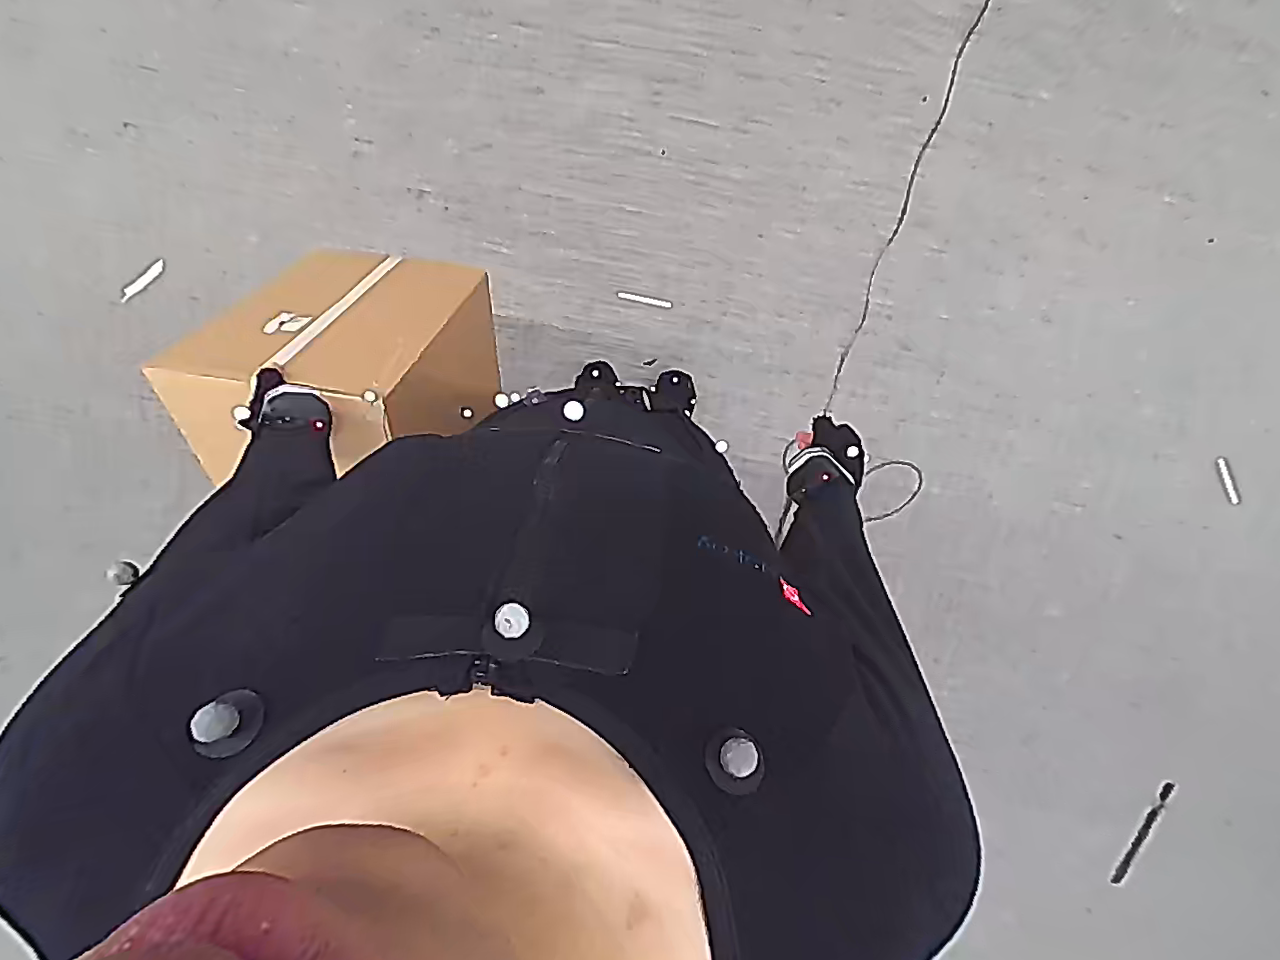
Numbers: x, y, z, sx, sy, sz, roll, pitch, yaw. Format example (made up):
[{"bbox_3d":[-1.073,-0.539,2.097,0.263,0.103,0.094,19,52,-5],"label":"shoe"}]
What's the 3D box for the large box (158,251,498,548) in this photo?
[{"bbox_3d":[-0.463,-0.148,0.935,0.320,0.408,0.320,8,135,3],"label":"large box"}]
